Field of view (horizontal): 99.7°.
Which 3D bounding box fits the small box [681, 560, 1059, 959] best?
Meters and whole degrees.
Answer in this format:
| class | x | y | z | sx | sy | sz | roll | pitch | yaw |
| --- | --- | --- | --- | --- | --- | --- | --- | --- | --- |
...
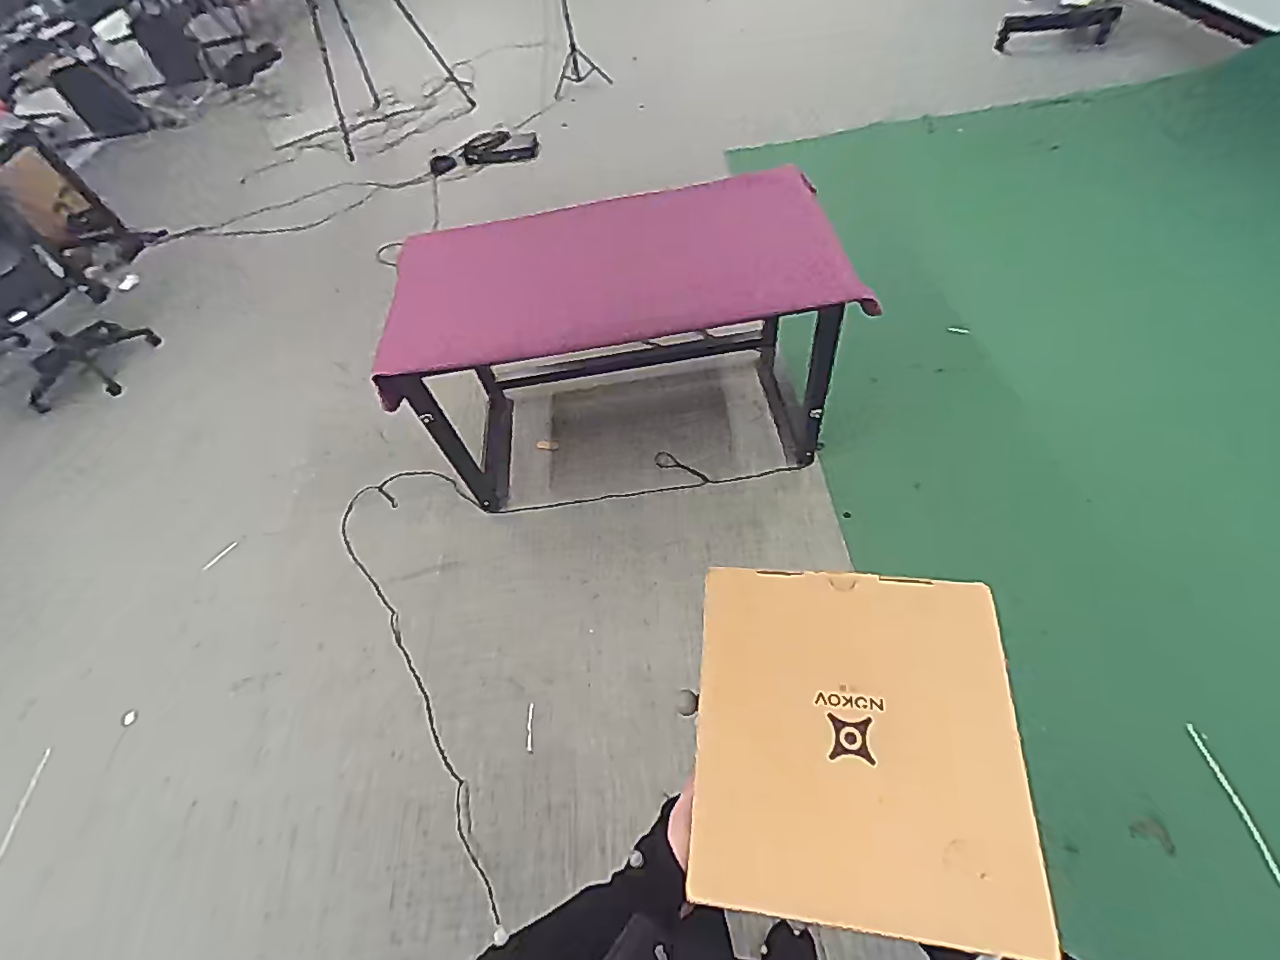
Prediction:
| class | x | y | z | sx | sy | sz | roll | pitch | yaw |
| --- | --- | --- | --- | --- | --- | --- | --- | --- | --- |
| small box | 0.123 | 0.167 | 0.352 | 0.168 | 0.176 | 0.179 | 2 | 60 | 11 |
